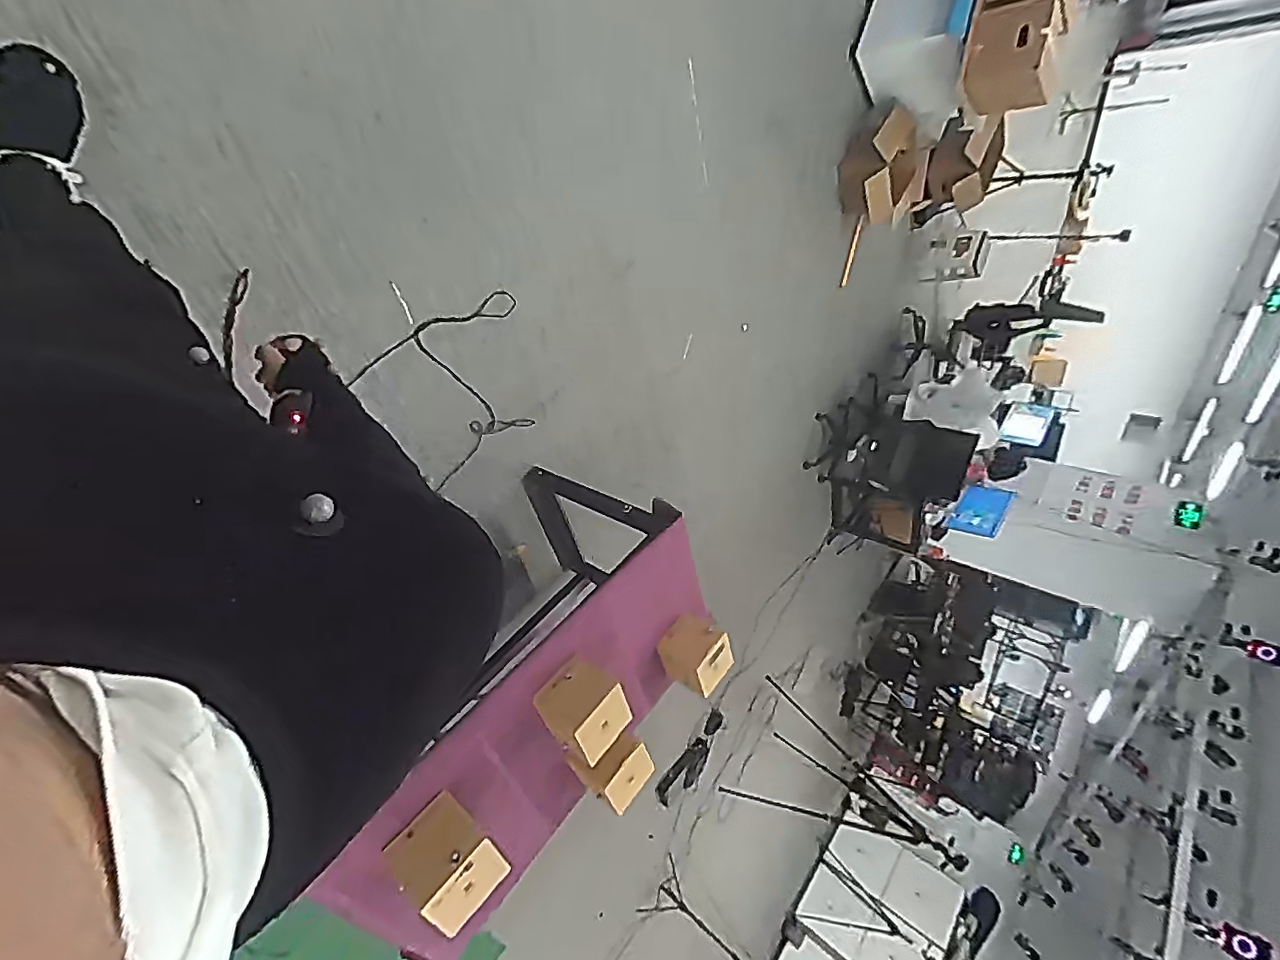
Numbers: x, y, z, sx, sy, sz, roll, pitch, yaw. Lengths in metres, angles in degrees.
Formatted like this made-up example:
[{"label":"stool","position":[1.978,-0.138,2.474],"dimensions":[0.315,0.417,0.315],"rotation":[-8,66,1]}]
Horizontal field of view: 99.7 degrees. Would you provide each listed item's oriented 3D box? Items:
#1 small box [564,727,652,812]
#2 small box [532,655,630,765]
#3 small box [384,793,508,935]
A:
[{"label":"small box","position":[-0.094,0.827,1.598],"dimensions":[0.168,0.176,0.179],"rotation":[-43,134,-30]},{"label":"small box","position":[-0.153,0.596,1.421],"dimensions":[0.168,0.176,0.179],"rotation":[-42,135,-33]},{"label":"small box","position":[-0.424,0.836,1.191],"dimensions":[0.168,0.176,0.179],"rotation":[-41,136,-35]}]
